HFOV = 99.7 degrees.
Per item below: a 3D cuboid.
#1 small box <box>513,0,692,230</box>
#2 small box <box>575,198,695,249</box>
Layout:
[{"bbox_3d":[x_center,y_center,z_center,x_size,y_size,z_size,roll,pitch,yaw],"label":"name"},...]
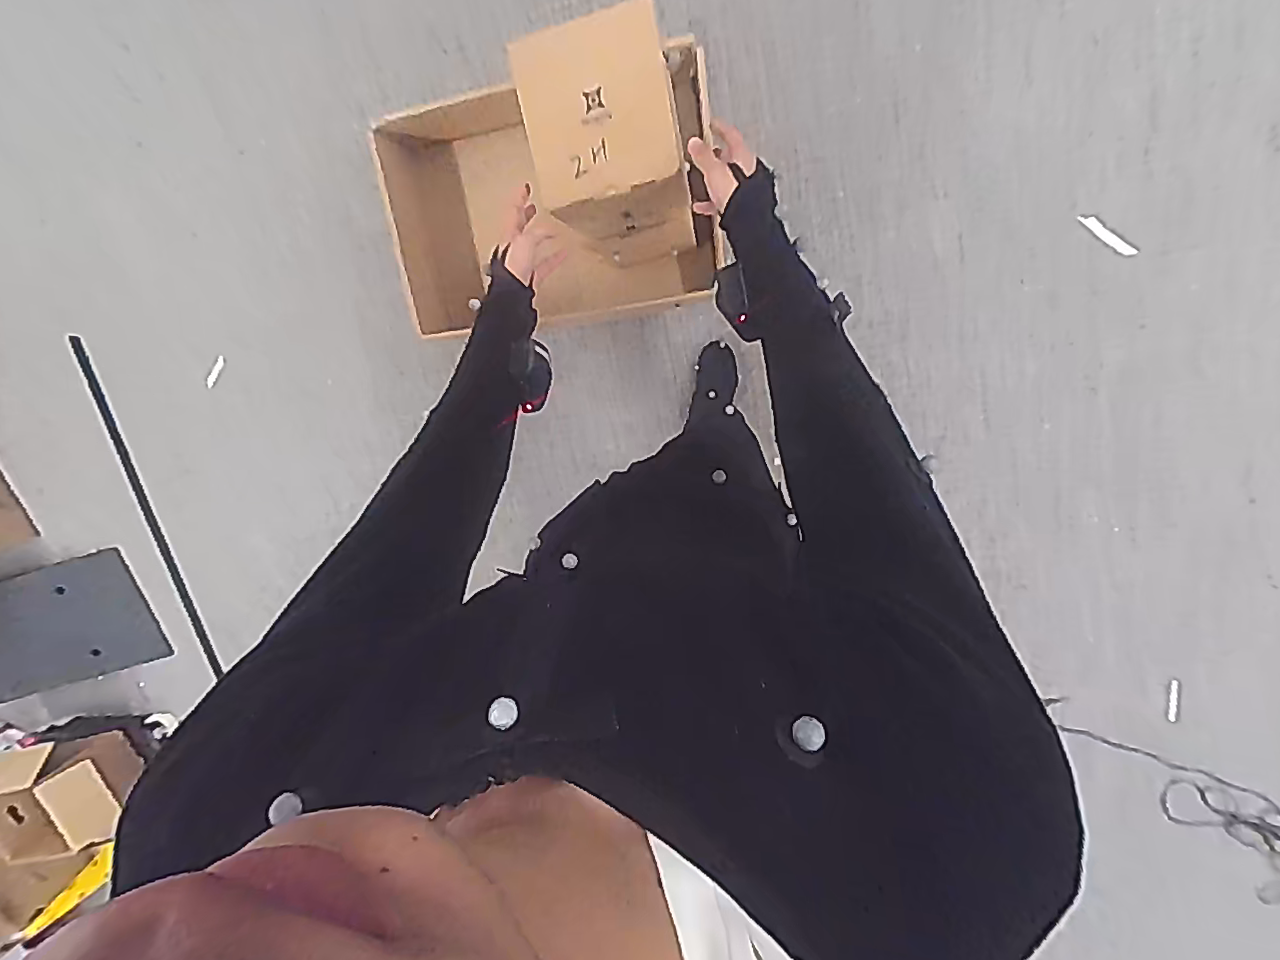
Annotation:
[{"bbox_3d":[-0.032,-0.429,0.667,0.168,0.176,0.179,-9,106,12],"label":"small box"},{"bbox_3d":[-0.012,-0.463,0.827,0.168,0.176,0.179,-9,105,12],"label":"small box"}]
